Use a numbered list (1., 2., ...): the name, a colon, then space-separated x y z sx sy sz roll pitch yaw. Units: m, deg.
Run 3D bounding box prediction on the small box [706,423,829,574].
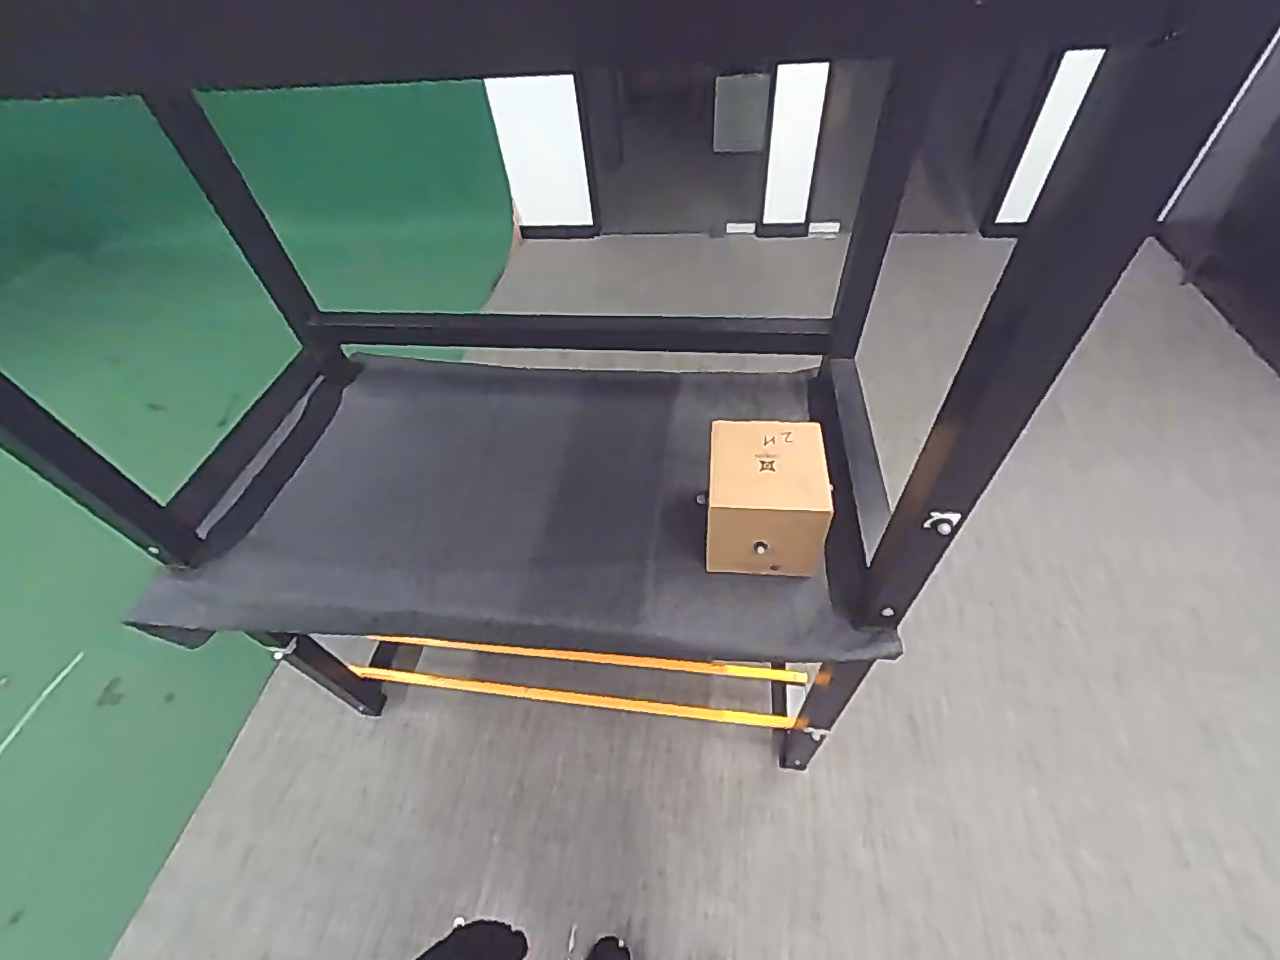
1. small box: 0.189 0.031 0.842 0.168 0.176 0.179 2 49 7
